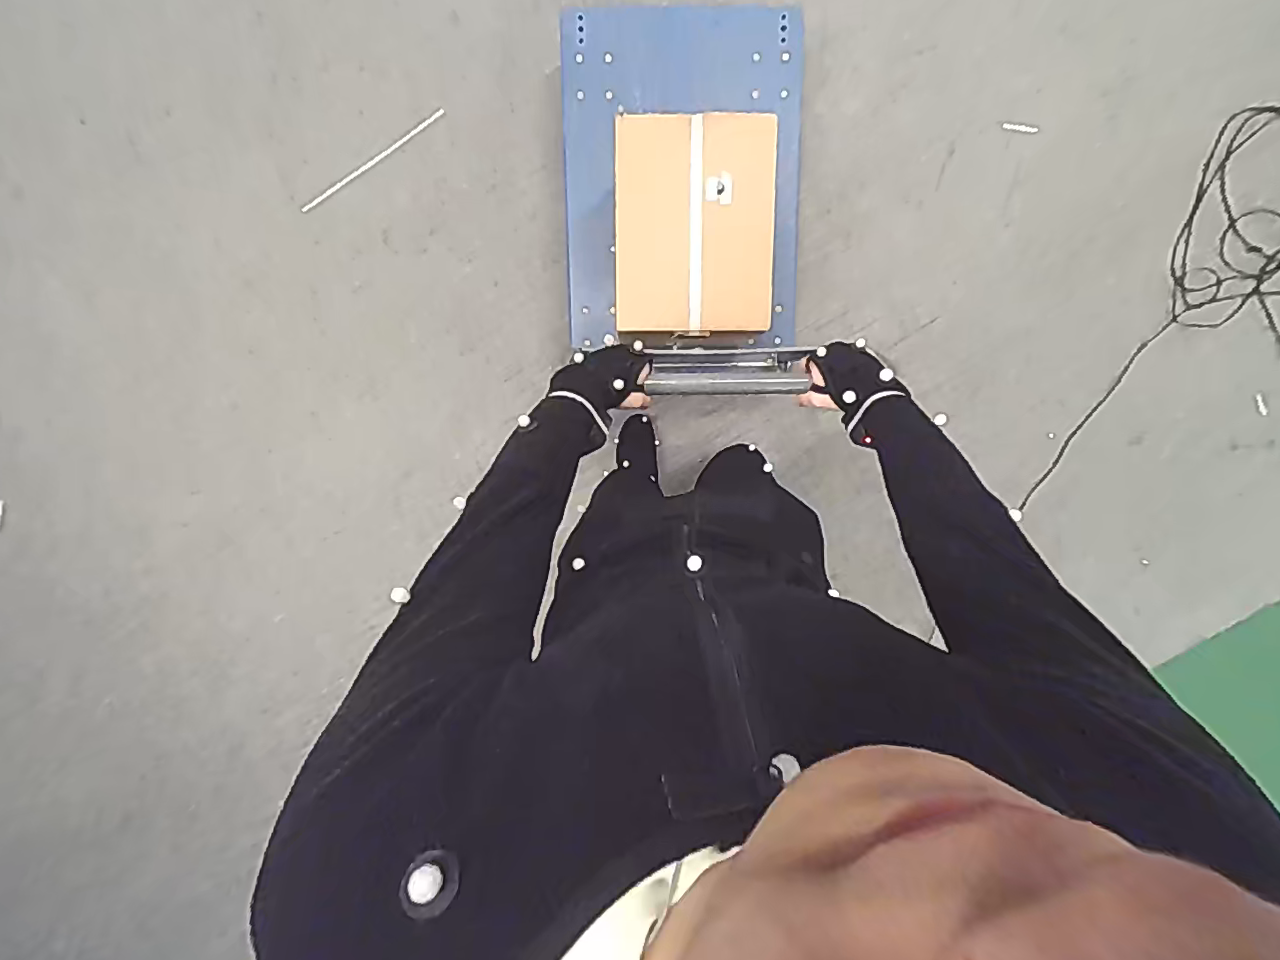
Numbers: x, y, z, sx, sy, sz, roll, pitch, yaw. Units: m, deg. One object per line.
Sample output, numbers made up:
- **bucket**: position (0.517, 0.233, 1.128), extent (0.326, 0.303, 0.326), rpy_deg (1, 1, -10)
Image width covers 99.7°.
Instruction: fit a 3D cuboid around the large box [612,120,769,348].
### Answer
- **large box**: position (0.102, -0.522, 1.227), extent (0.320, 0.320, 0.408), rpy_deg (0, 98, -1)
